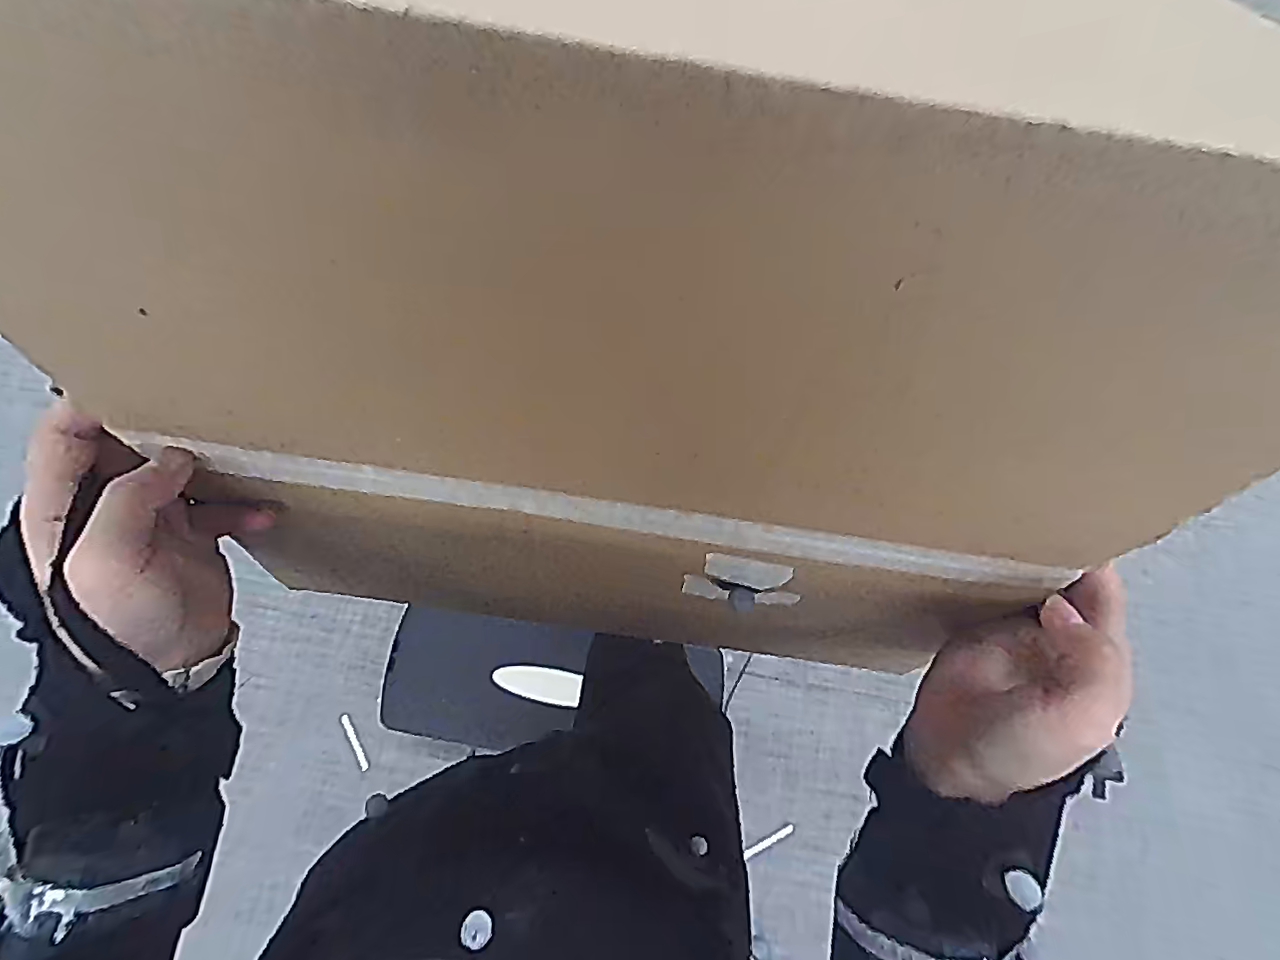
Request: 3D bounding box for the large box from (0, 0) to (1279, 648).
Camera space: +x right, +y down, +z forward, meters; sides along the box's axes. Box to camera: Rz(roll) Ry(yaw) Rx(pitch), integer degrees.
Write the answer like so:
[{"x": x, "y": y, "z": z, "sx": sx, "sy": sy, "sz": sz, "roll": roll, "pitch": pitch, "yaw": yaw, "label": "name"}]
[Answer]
[{"x": 0.005, "y": -0.119, "z": 0.326, "sx": 0.408, "sy": 0.320, "sz": 0.320, "roll": 7, "pitch": 56, "yaw": -2, "label": "large box"}]
